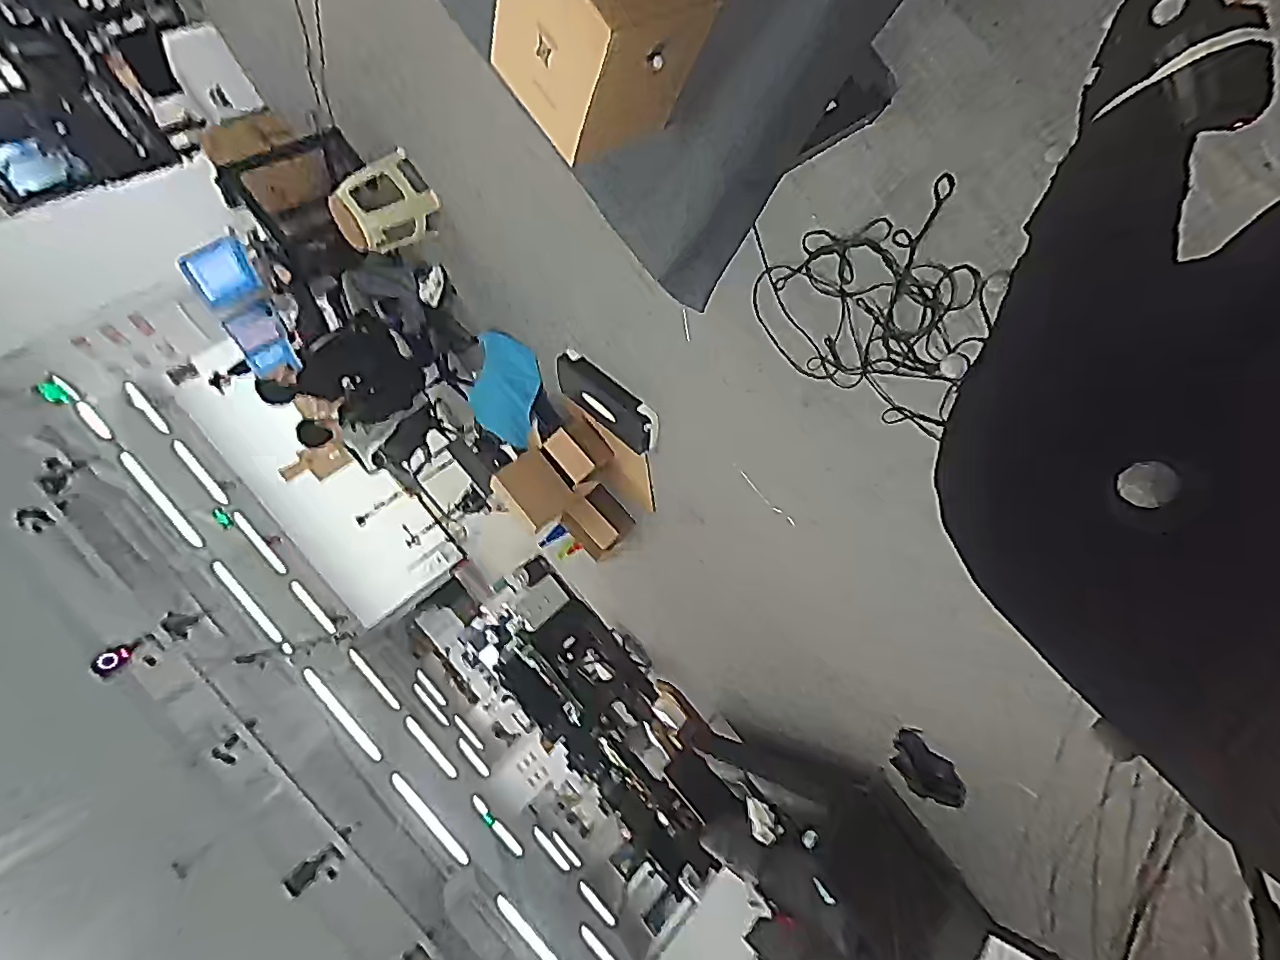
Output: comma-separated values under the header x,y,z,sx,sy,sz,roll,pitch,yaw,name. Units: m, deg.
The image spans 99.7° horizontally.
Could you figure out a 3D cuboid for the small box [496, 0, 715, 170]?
x,y,z,sx,sy,sz,roll,pitch,yaw,name
-0.040,-0.511,0.622,0.168,0.176,0.179,52,156,0,small box
